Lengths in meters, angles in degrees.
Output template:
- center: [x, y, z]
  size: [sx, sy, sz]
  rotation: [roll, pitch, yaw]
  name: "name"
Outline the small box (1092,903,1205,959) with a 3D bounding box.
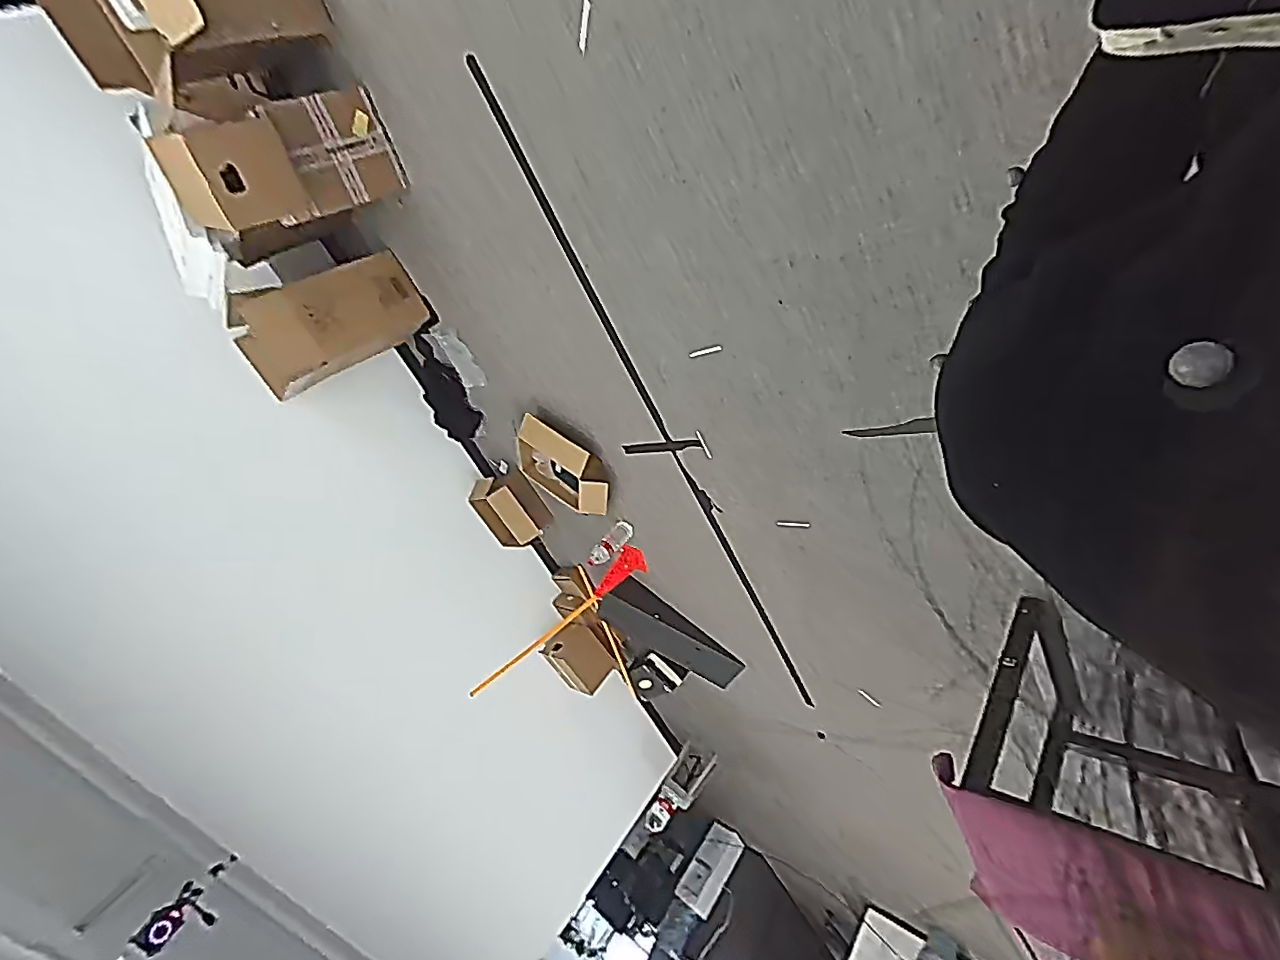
- center: [1.070, 1.058, 1.142]
  size: [0.168, 0.176, 0.179]
  rotation: [5, 129, 46]
  name: "small box"
